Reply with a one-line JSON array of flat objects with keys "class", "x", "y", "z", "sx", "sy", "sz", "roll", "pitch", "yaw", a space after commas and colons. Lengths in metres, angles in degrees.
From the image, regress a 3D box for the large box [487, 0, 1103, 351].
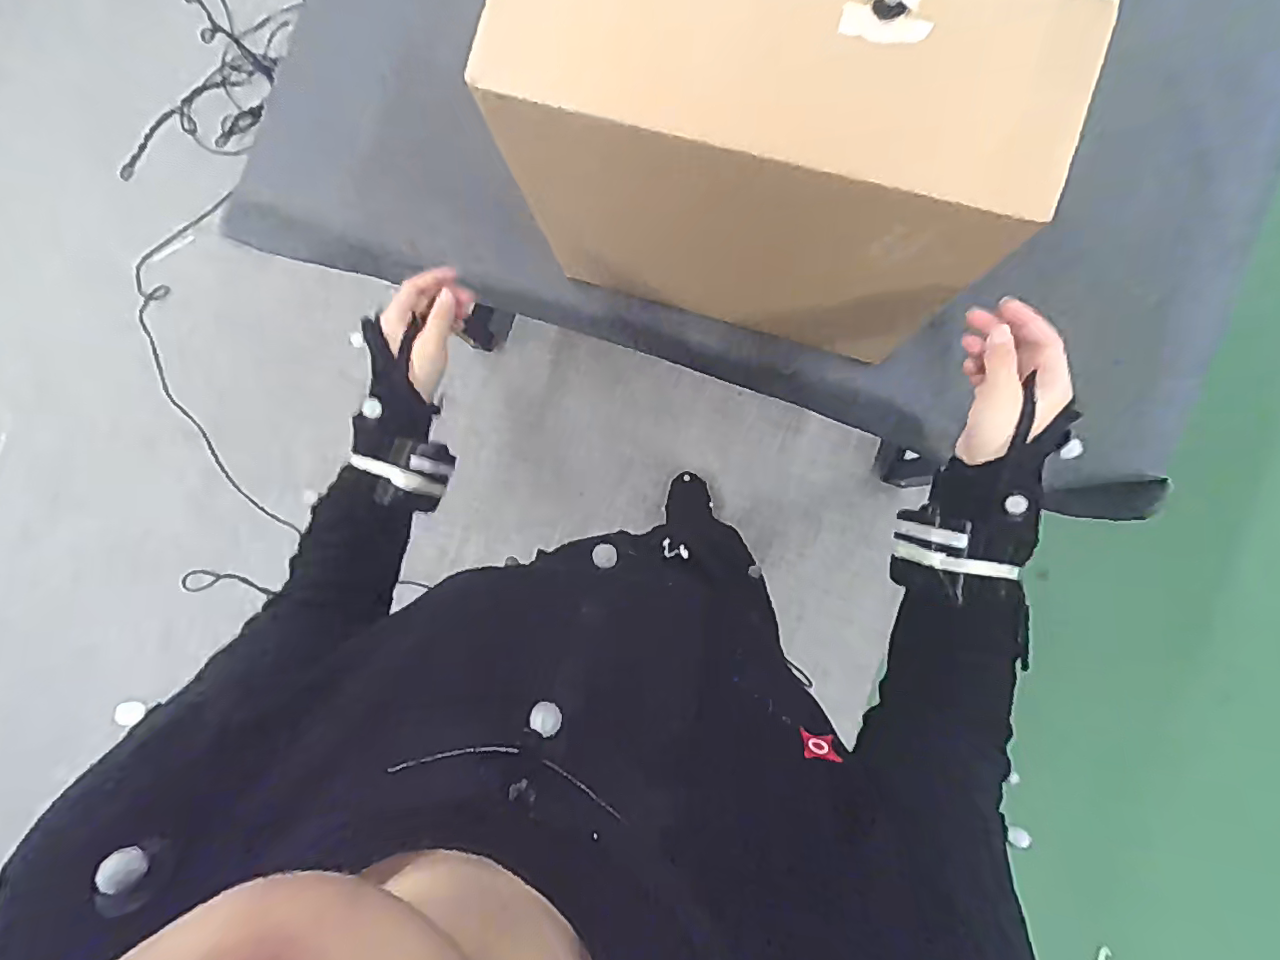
[{"class": "large box", "x": 0.128, "y": -0.361, "z": 0.526, "sx": 0.408, "sy": 0.320, "sz": 0.320, "roll": 17, "pitch": 88, "yaw": 5}]
